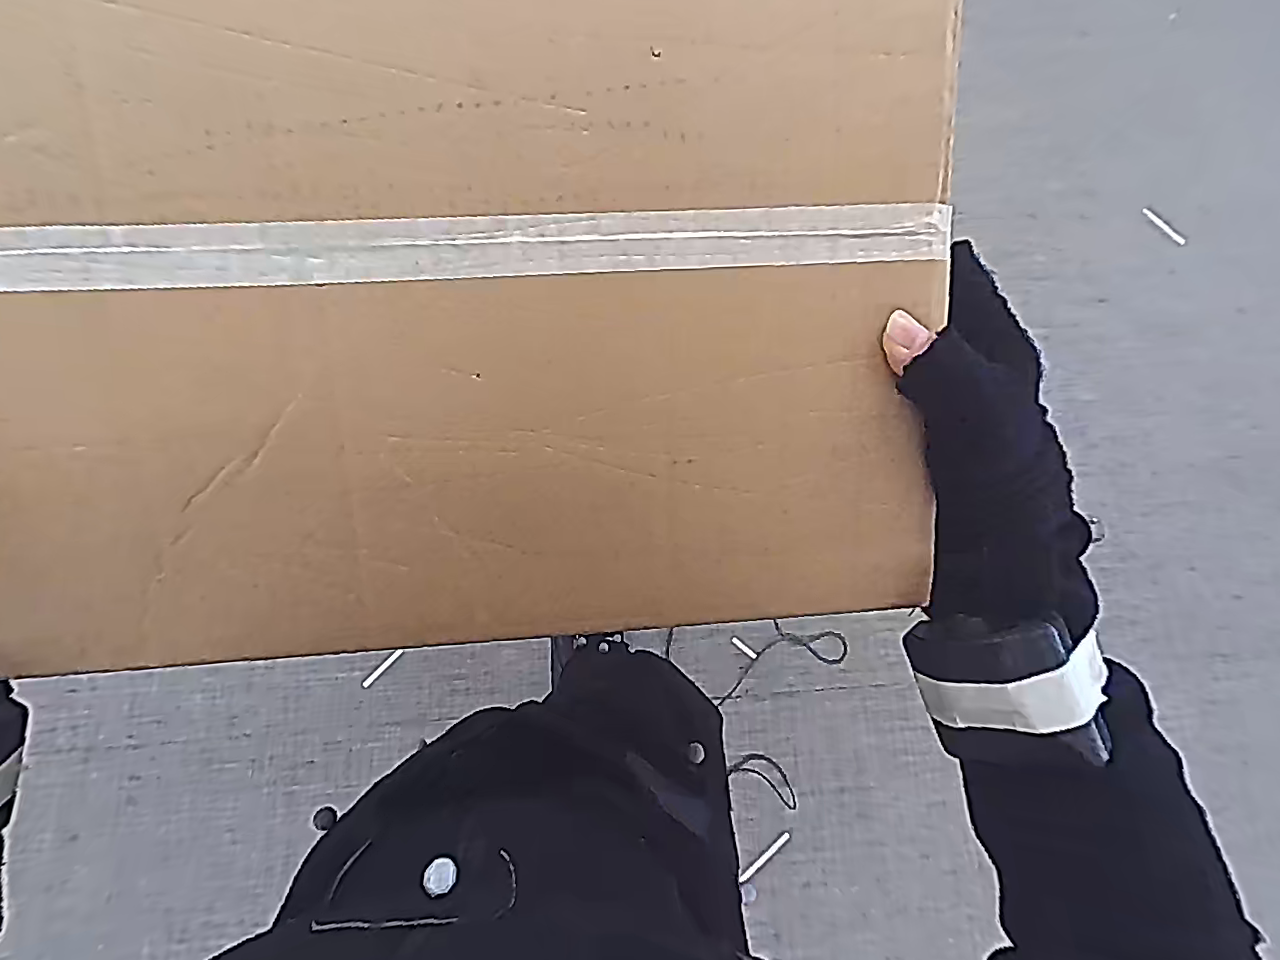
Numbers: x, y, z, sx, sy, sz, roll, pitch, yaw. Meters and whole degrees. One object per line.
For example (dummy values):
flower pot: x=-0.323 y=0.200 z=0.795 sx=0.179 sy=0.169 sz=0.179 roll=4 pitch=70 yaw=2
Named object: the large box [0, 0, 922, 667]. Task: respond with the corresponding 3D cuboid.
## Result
large box: x=-0.095 y=-0.111 z=0.359 sx=0.408 sy=0.320 sz=0.320 roll=-3 pitch=100 yaw=-5
